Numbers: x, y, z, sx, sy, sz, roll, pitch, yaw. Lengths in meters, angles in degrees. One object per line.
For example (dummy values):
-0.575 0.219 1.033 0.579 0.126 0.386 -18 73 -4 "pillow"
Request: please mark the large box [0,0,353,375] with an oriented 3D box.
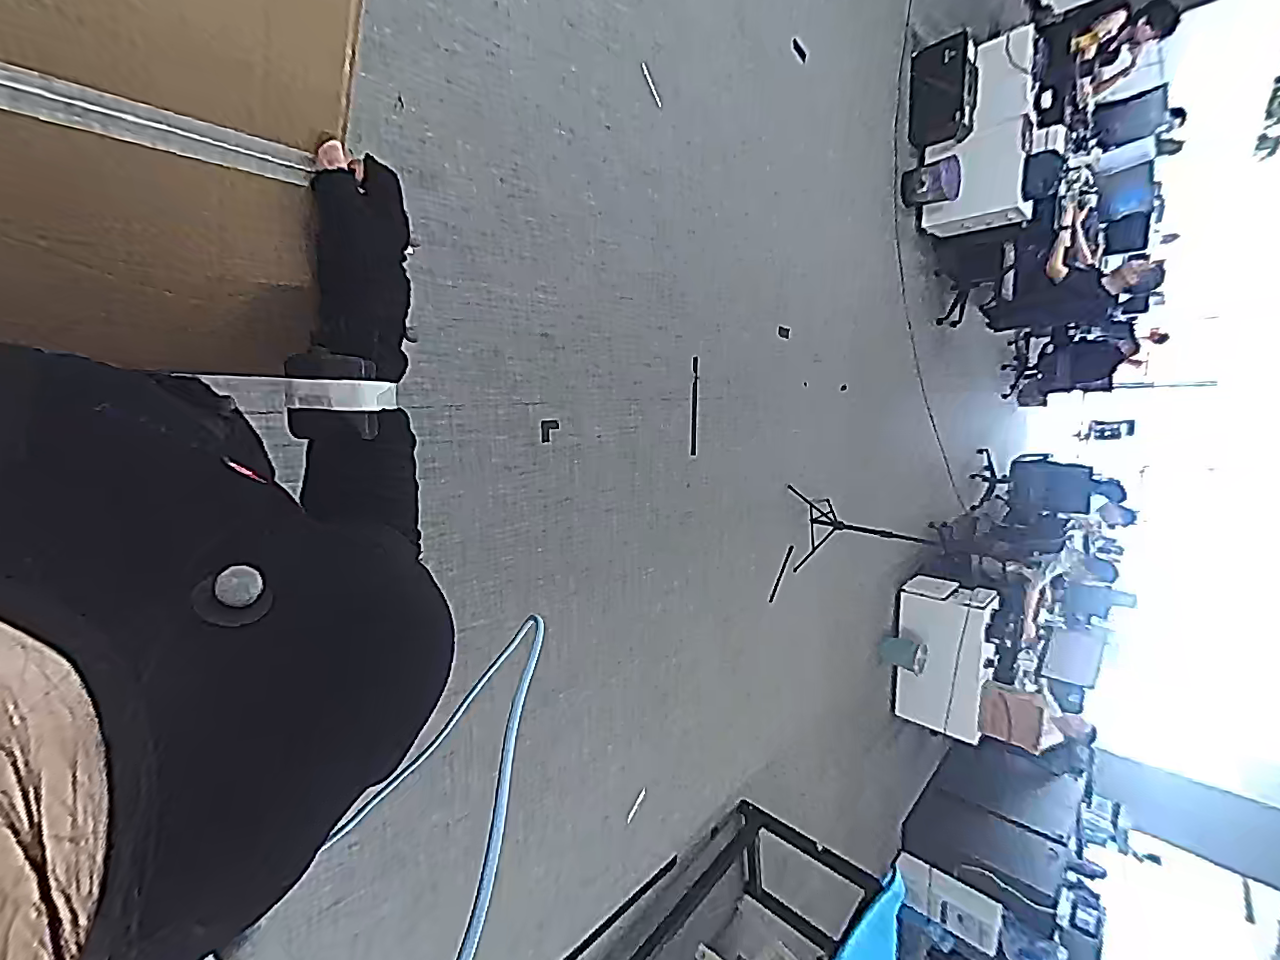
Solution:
-0.447 -0.278 0.325 0.408 0.320 0.320 -8 132 -46 "large box"
